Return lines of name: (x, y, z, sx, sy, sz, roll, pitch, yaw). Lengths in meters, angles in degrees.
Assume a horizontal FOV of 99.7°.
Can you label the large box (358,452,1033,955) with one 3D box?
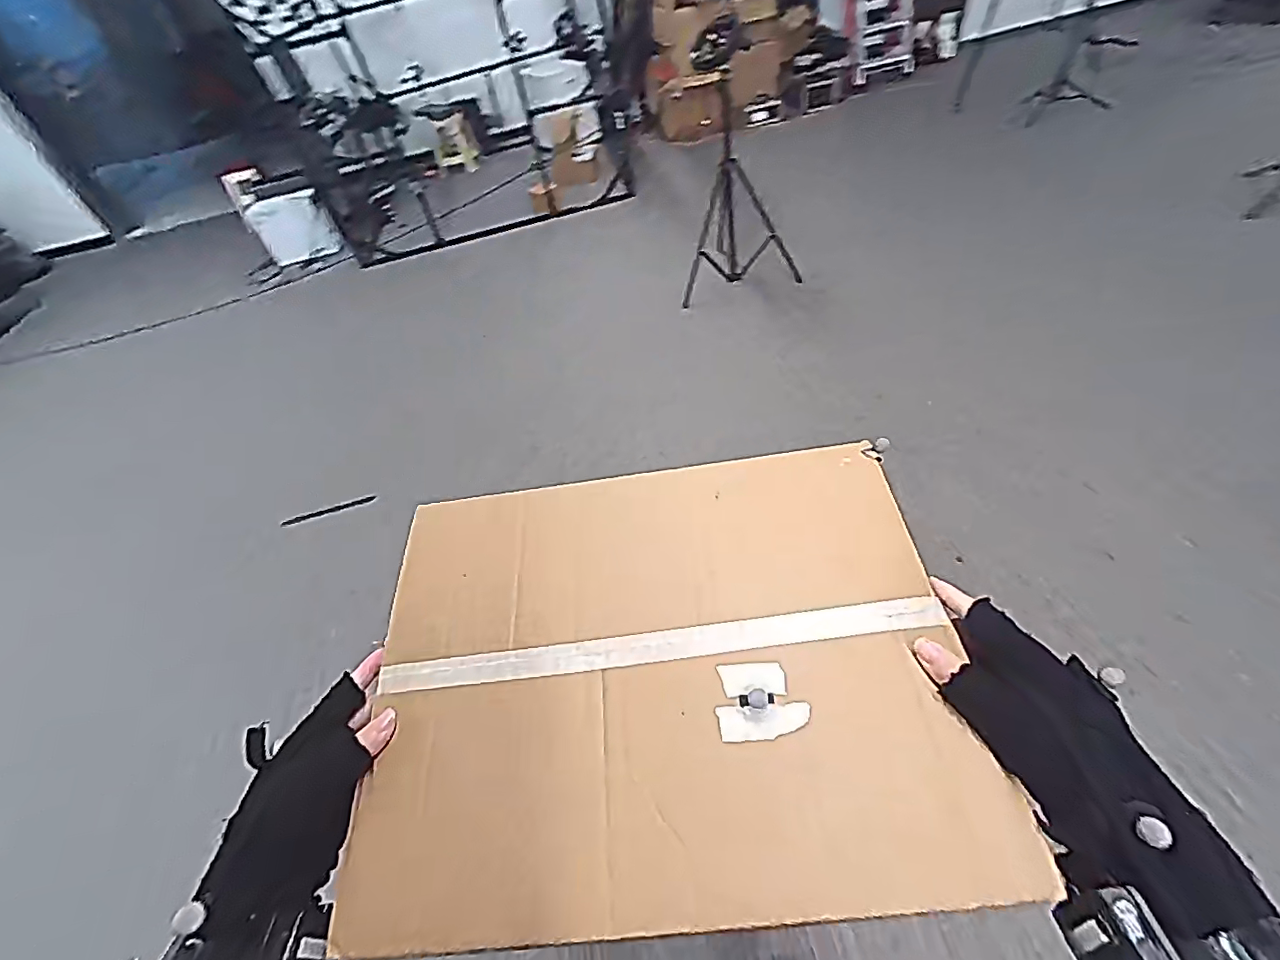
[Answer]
large box: (0.031, 0.214, 0.517, 0.408, 0.320, 0.320, -8, 54, 3)
